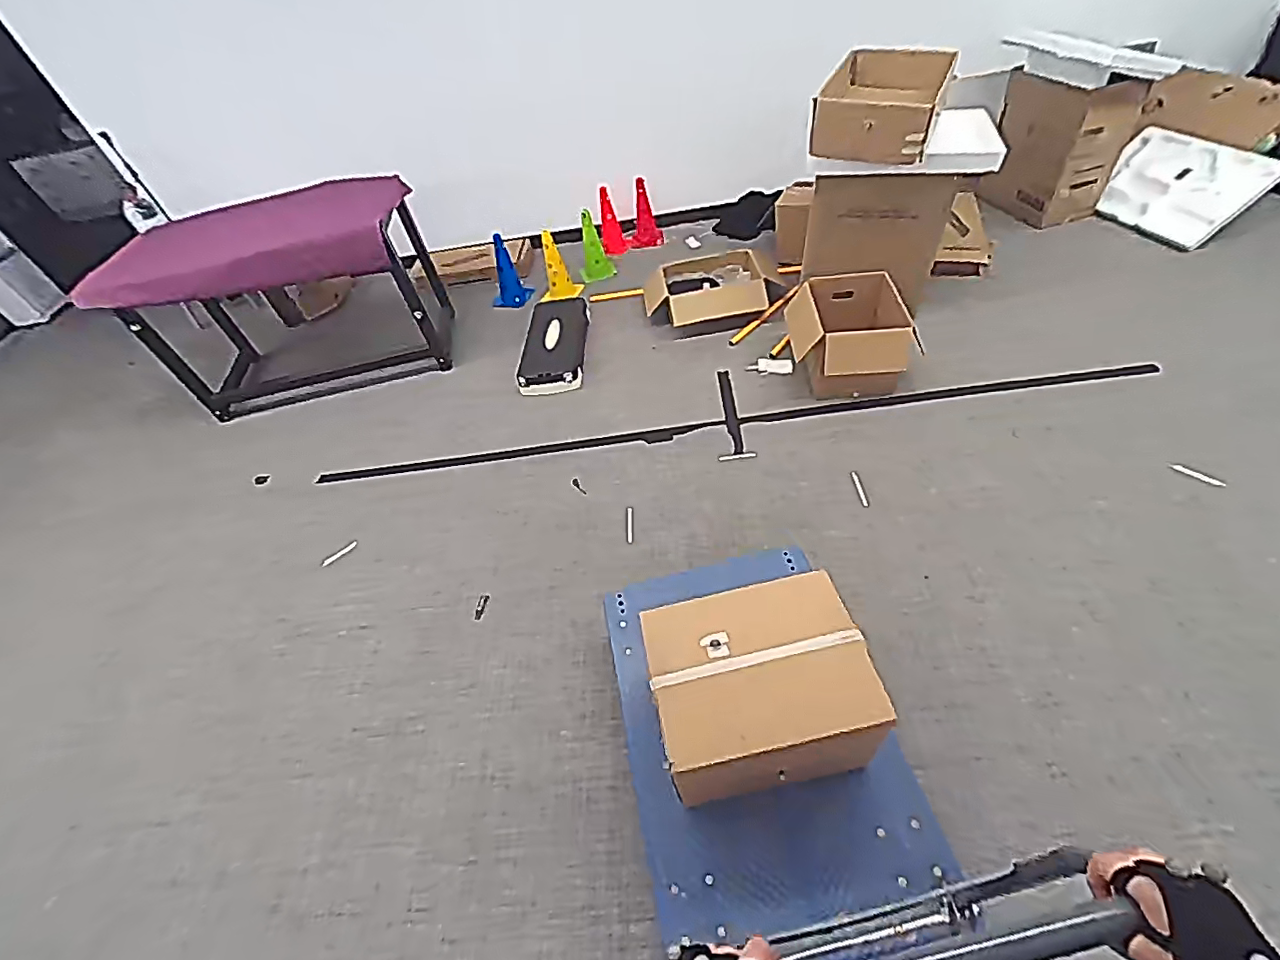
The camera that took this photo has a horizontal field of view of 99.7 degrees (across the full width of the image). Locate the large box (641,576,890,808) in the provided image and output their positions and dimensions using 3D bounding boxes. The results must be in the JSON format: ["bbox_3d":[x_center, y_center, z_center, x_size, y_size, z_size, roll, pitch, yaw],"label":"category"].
[{"bbox_3d":[0.246,0.457,1.154,0.408,0.320,0.320,-14,47,0],"label":"large box"}]
